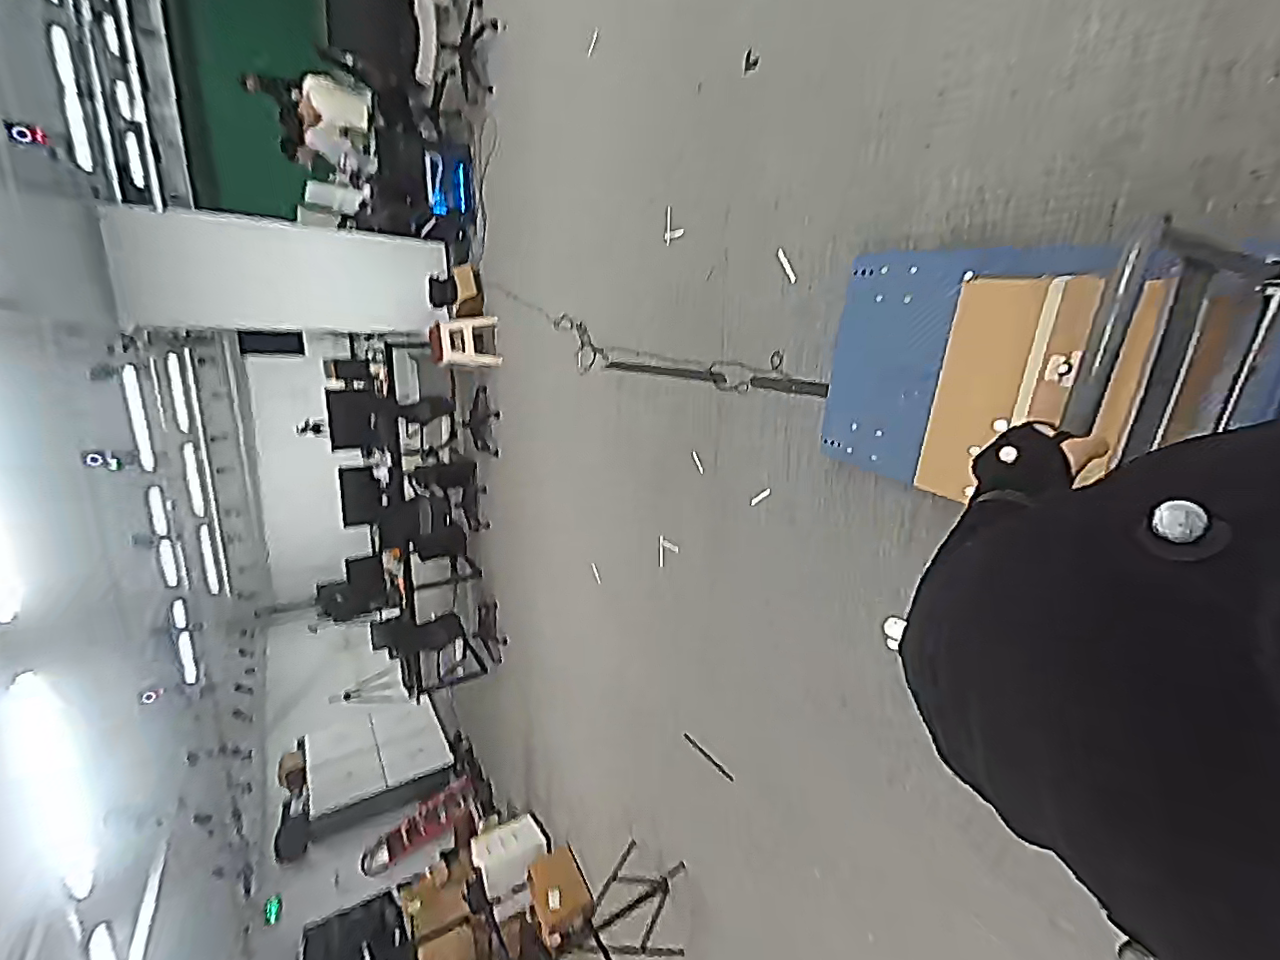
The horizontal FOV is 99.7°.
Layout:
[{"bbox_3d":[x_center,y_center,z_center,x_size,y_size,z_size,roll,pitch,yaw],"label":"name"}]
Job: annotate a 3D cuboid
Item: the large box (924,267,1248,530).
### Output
[{"bbox_3d":[0.798,-0.164,1.002,0.320,0.320,0.408,29,121,51],"label":"large box"}]
